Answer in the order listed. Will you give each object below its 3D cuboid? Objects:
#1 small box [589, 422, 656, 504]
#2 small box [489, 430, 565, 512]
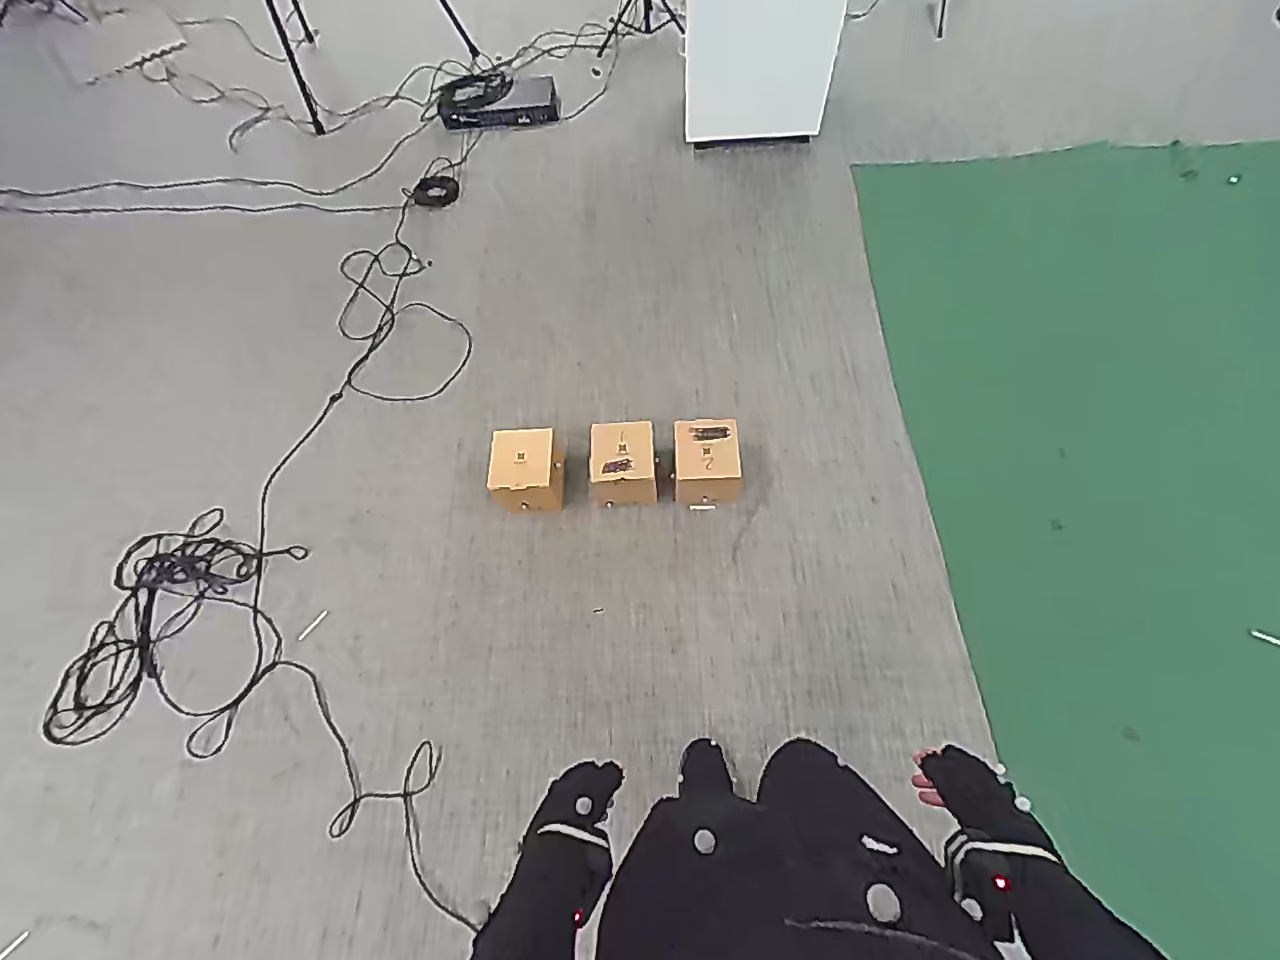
[{"bbox_3d":[-0.045,-0.040,1.499,0.168,0.176,0.179,-3,63,4],"label":"small box"},{"bbox_3d":[-0.310,-0.022,1.516,0.168,0.176,0.179,-3,65,4],"label":"small box"}]
